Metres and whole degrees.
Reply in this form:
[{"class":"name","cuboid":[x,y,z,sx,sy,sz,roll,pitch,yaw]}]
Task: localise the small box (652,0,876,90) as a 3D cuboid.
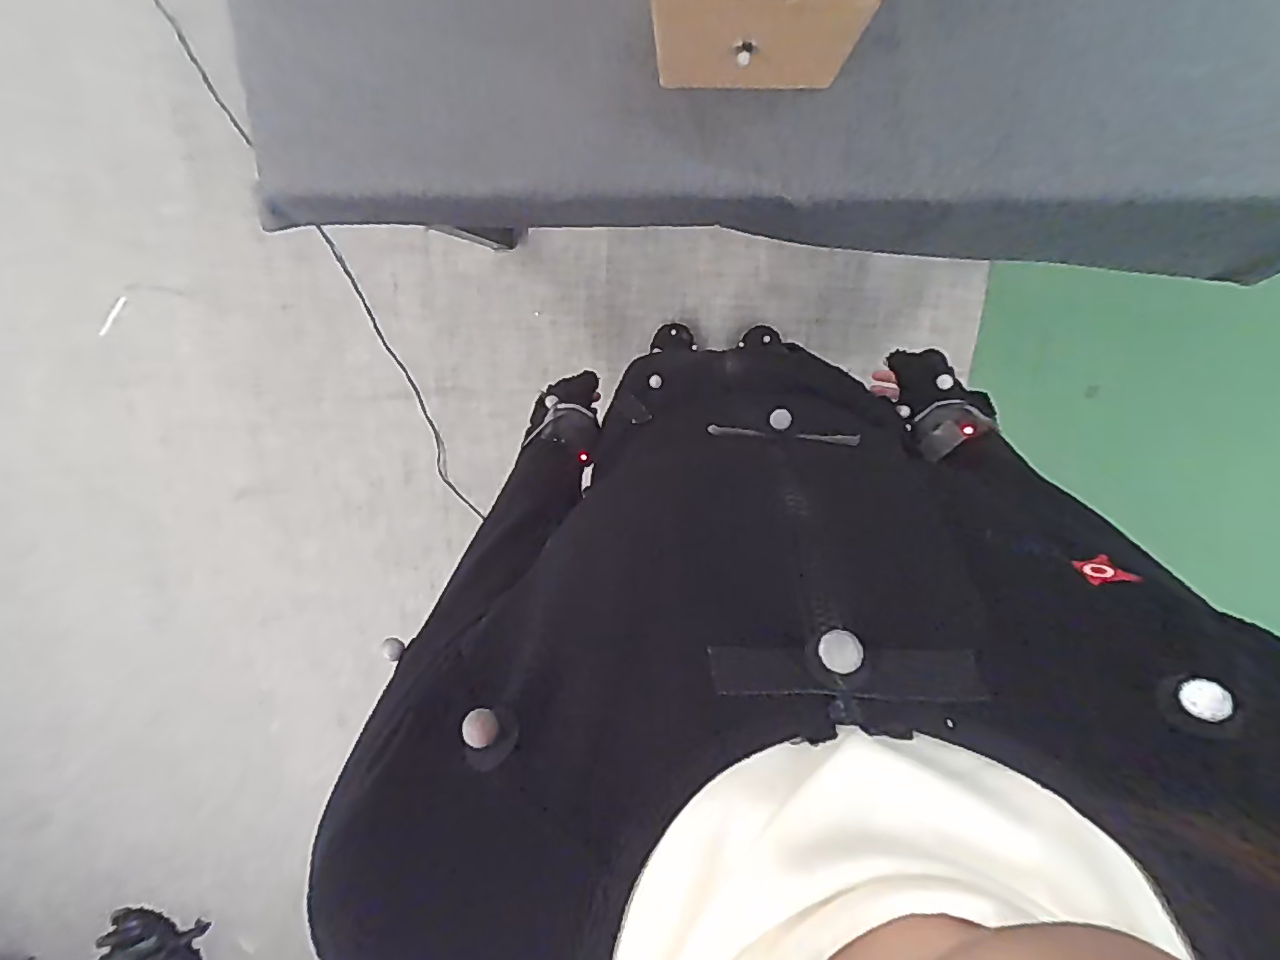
[{"class":"small box","cuboid":[0.105,-0.470,0.474,0.179,0.176,0.168,3,106,5]}]
